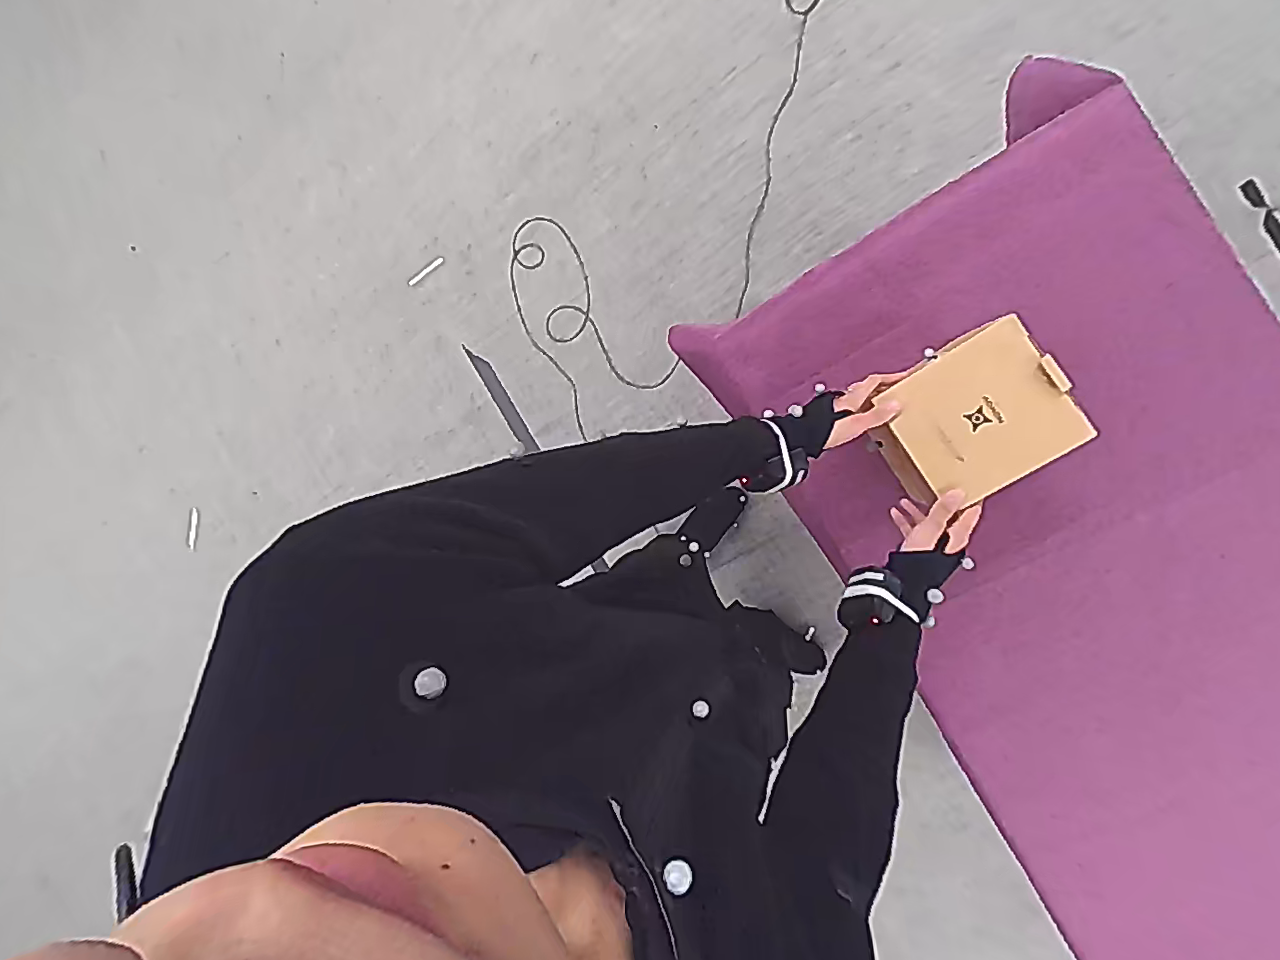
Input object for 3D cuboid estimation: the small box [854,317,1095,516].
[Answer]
[{"bbox_3d":[0.401,-0.077,0.687,0.179,0.176,0.168,-33,87,14],"label":"small box"}]
